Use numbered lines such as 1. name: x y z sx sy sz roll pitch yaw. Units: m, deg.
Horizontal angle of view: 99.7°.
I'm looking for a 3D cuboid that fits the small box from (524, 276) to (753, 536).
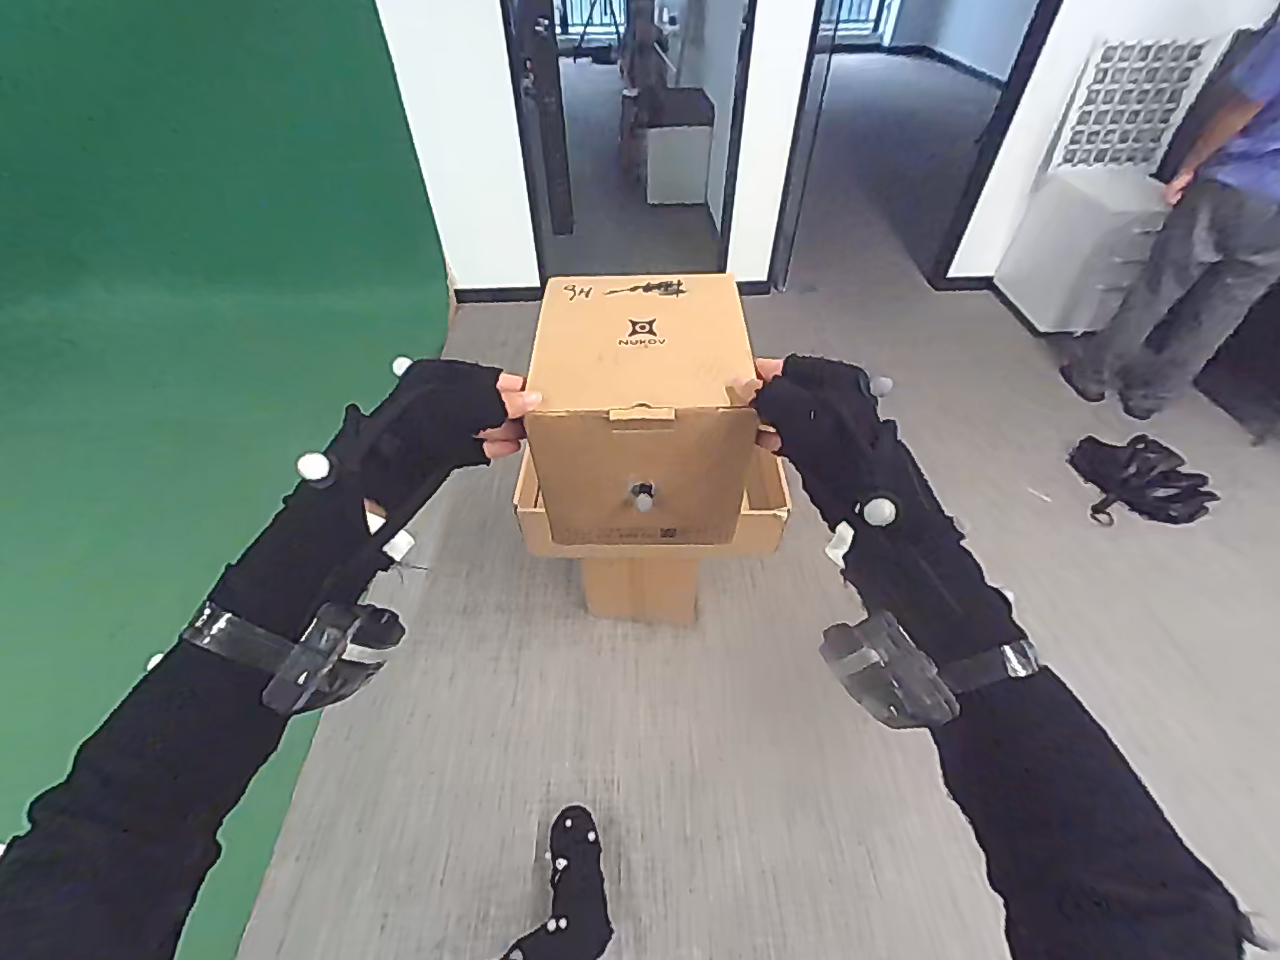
1. small box: 0.003 -0.061 0.491 0.168 0.176 0.179 0 50 1
